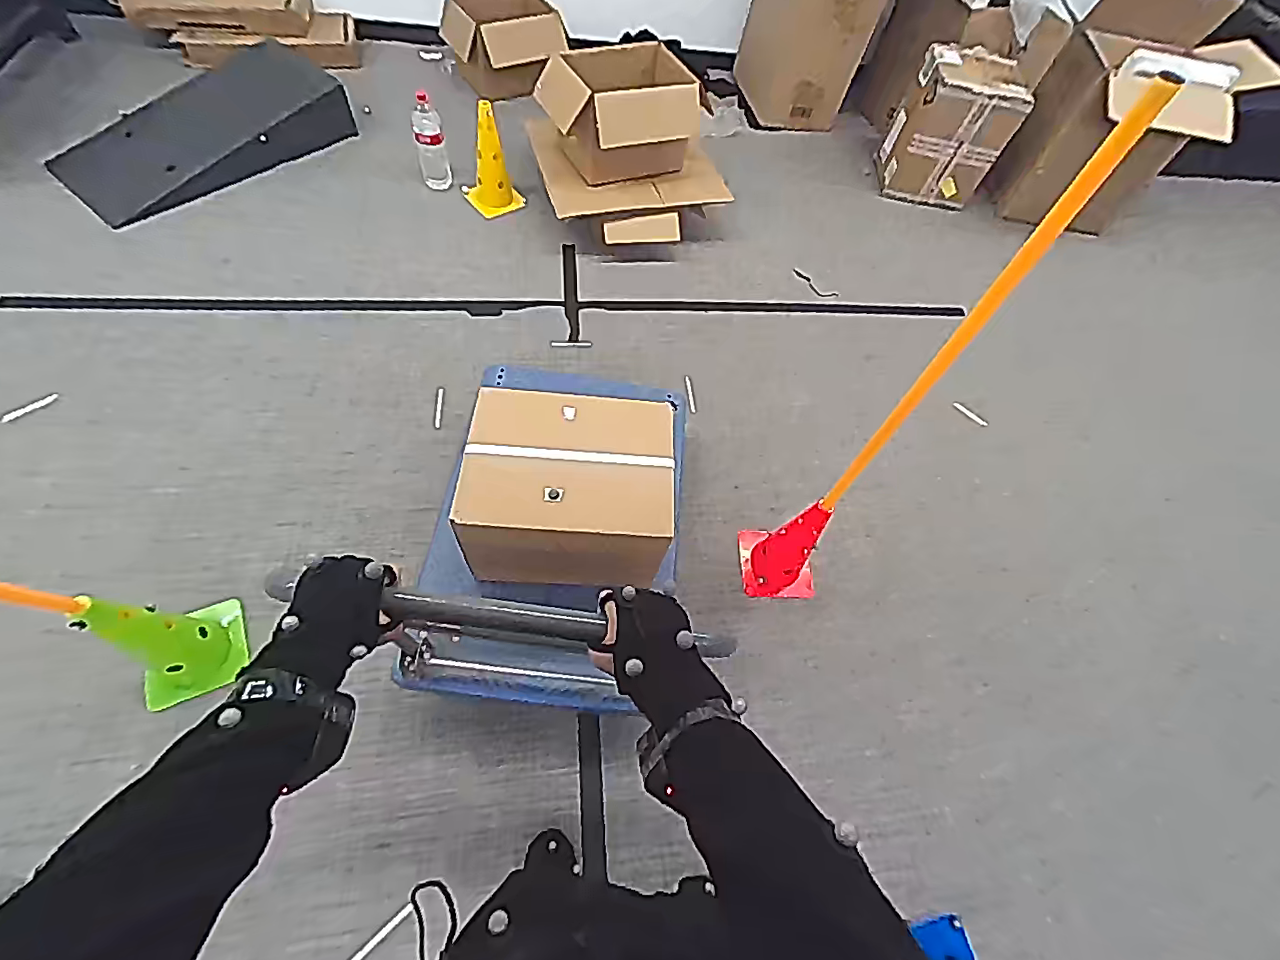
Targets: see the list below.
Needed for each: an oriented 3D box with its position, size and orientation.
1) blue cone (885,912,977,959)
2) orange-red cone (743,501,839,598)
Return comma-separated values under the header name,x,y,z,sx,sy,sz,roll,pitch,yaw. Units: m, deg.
name,x,y,z,sx,sy,sz,roll,pitch,yaw
blue cone,0.630,0.932,0.960,0.193,0.380,0.192,-5,60,-11
orange-red cone,0.411,0.149,1.372,0.199,0.360,0.198,4,60,-7
